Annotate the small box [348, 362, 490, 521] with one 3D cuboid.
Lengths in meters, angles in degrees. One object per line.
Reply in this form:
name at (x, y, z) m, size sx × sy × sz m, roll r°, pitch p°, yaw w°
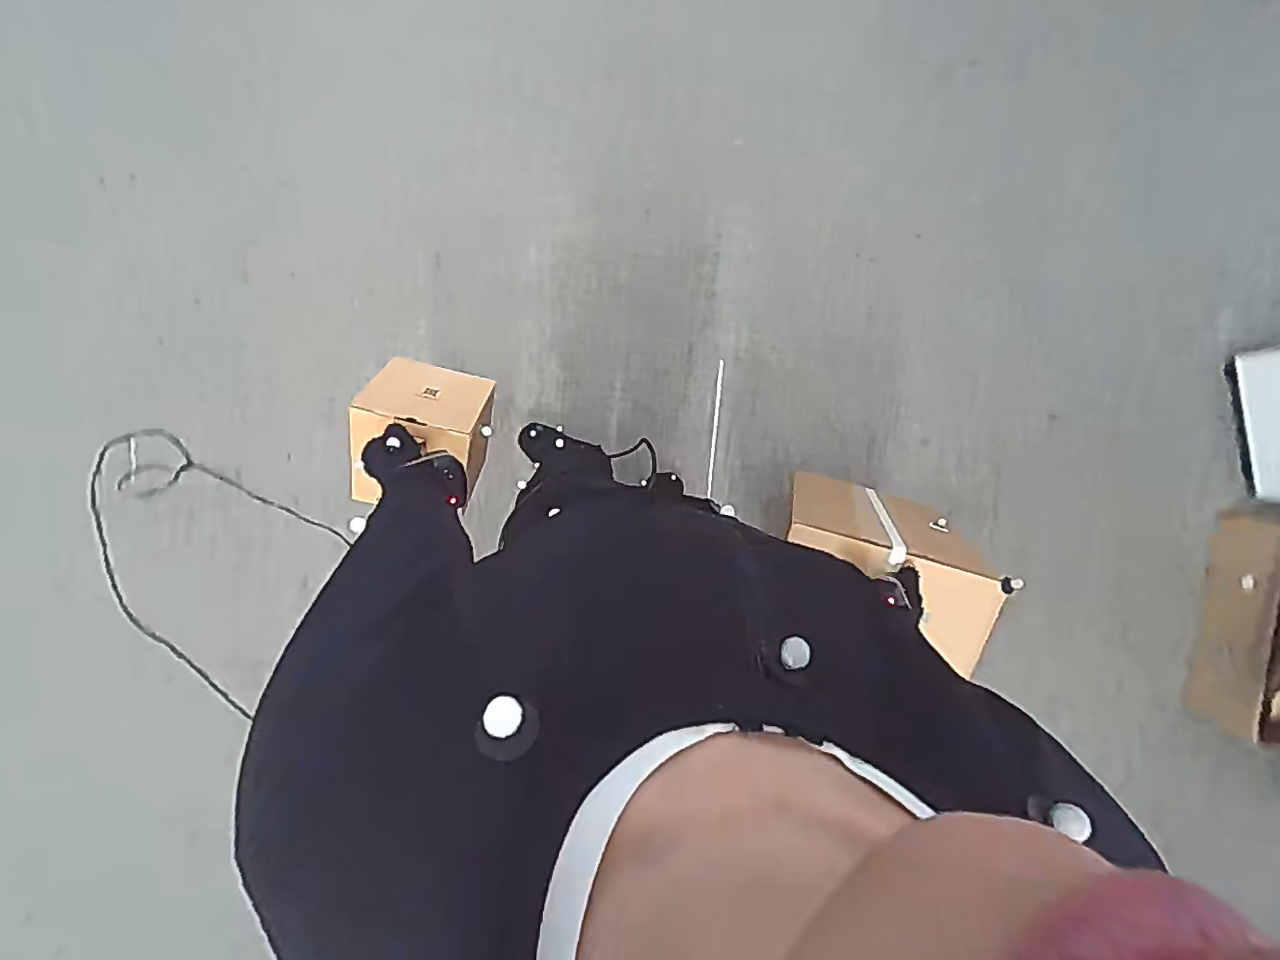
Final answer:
small box at (-0.348, -0.062, 0.870) m, size 0.168 × 0.179 × 0.176 m, roll 11°, pitch 126°, yaw -9°
